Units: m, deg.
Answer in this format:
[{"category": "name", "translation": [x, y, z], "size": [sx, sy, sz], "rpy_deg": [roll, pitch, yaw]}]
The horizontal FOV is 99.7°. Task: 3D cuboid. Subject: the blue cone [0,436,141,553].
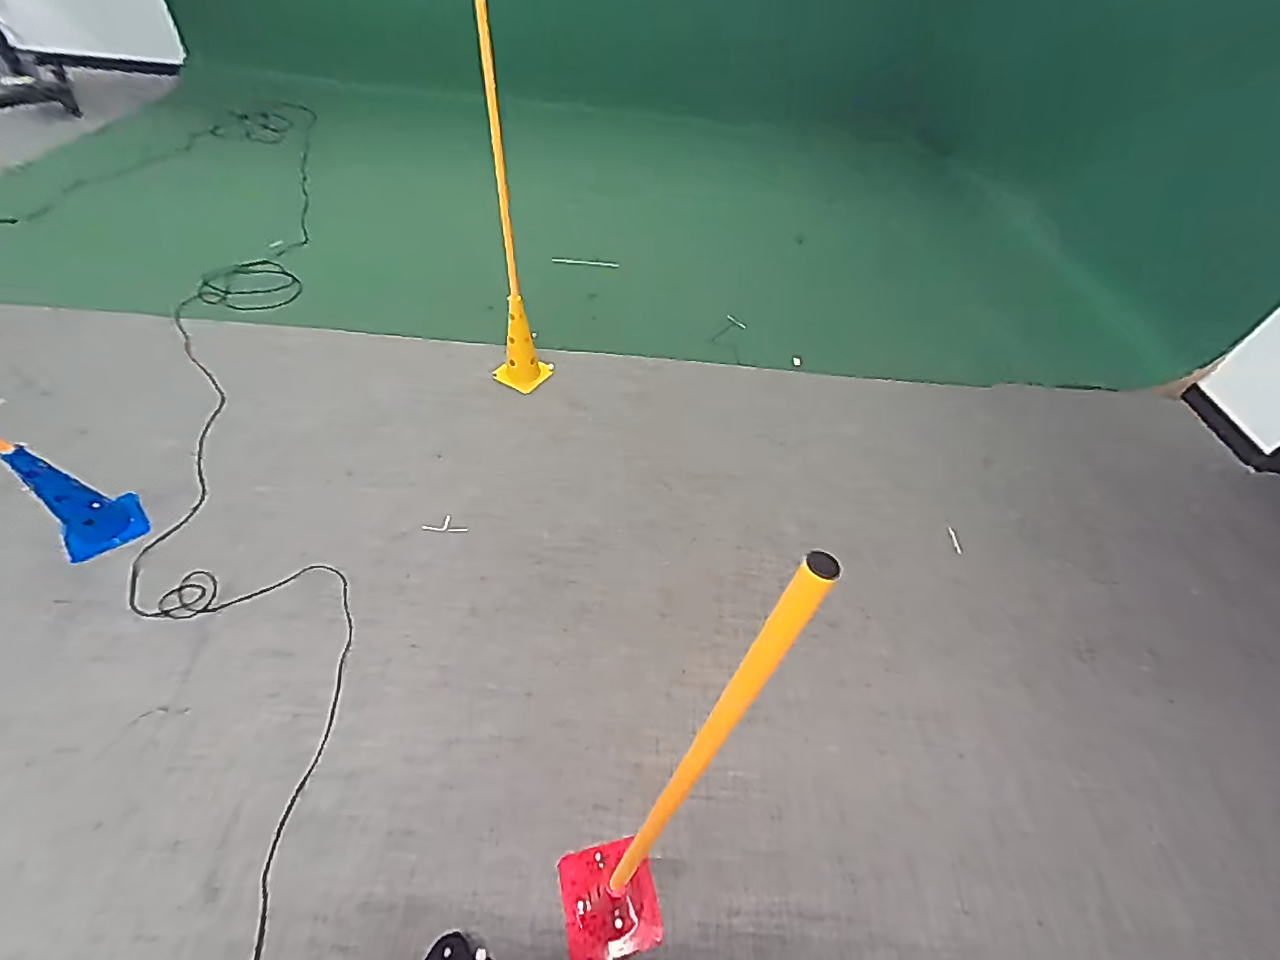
[{"category": "blue cone", "translation": [-1.632, 0.021, 1.517], "size": [0.193, 0.380, 0.192], "rpy_deg": [-34, 62, -27]}]
